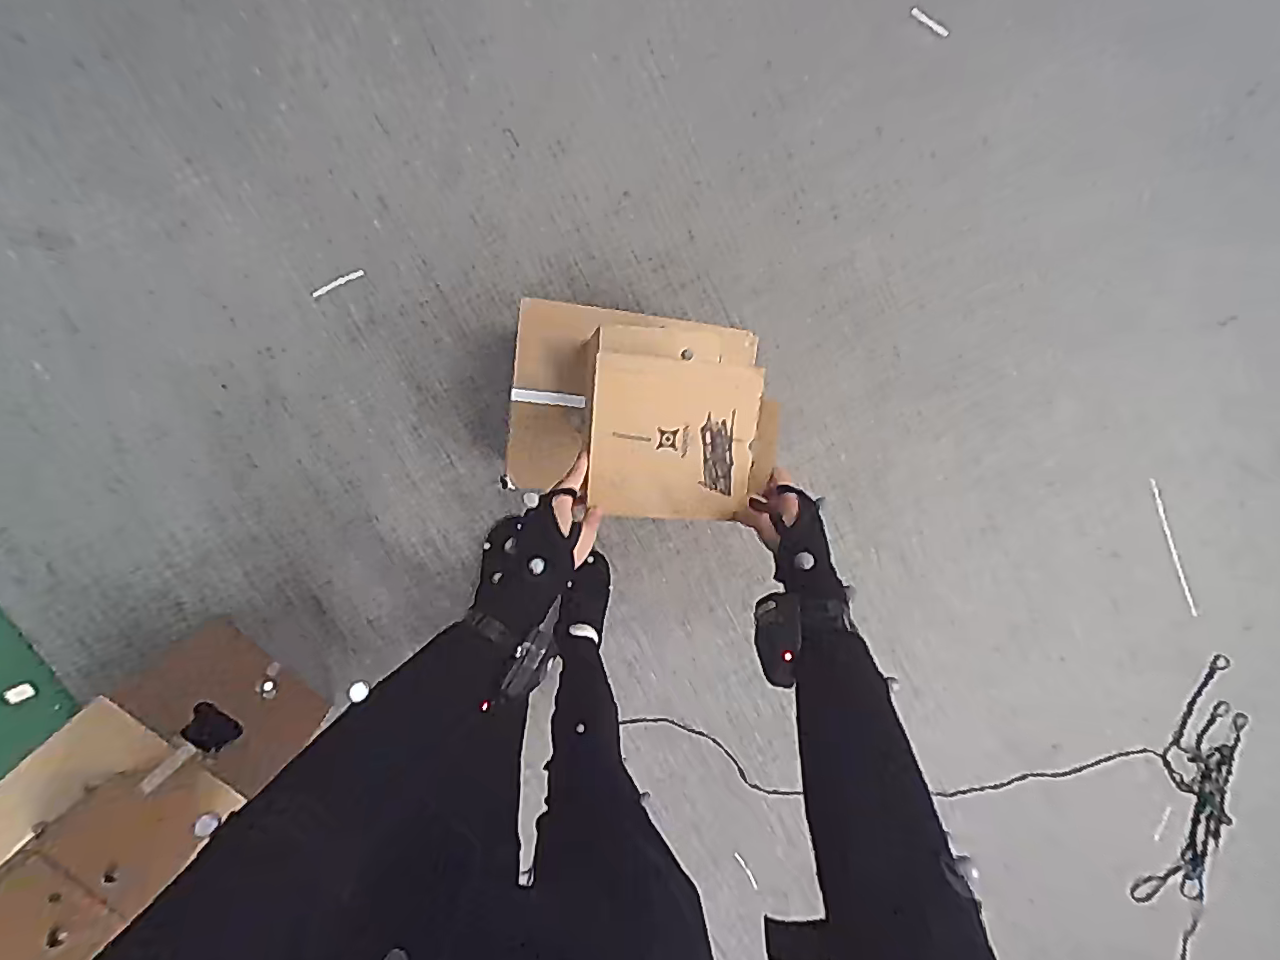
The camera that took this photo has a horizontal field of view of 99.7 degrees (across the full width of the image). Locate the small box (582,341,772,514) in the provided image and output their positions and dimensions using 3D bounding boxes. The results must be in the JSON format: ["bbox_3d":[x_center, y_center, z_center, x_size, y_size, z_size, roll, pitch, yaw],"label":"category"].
[{"bbox_3d":[0.030,-0.064,0.627,0.179,0.176,0.168,4,99,-9],"label":"small box"}]

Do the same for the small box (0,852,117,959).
[{"bbox_3d":[-0.782,0.588,0.617,0.179,0.176,0.168,-35,104,-5],"label":"small box"}]

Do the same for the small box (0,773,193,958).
[{"bbox_3d":[-0.812,0.572,0.775,0.168,0.176,0.179,-37,104,-4],"label":"small box"}]

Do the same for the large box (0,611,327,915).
[{"bbox_3d":[-0.897,0.529,1.005,0.408,0.320,0.320,-42,103,-1],"label":"large box"}]

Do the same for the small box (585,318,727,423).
[{"bbox_3d":[0.016,-0.143,0.824,0.179,0.176,0.168,2,96,-12],"label":"small box"}]
